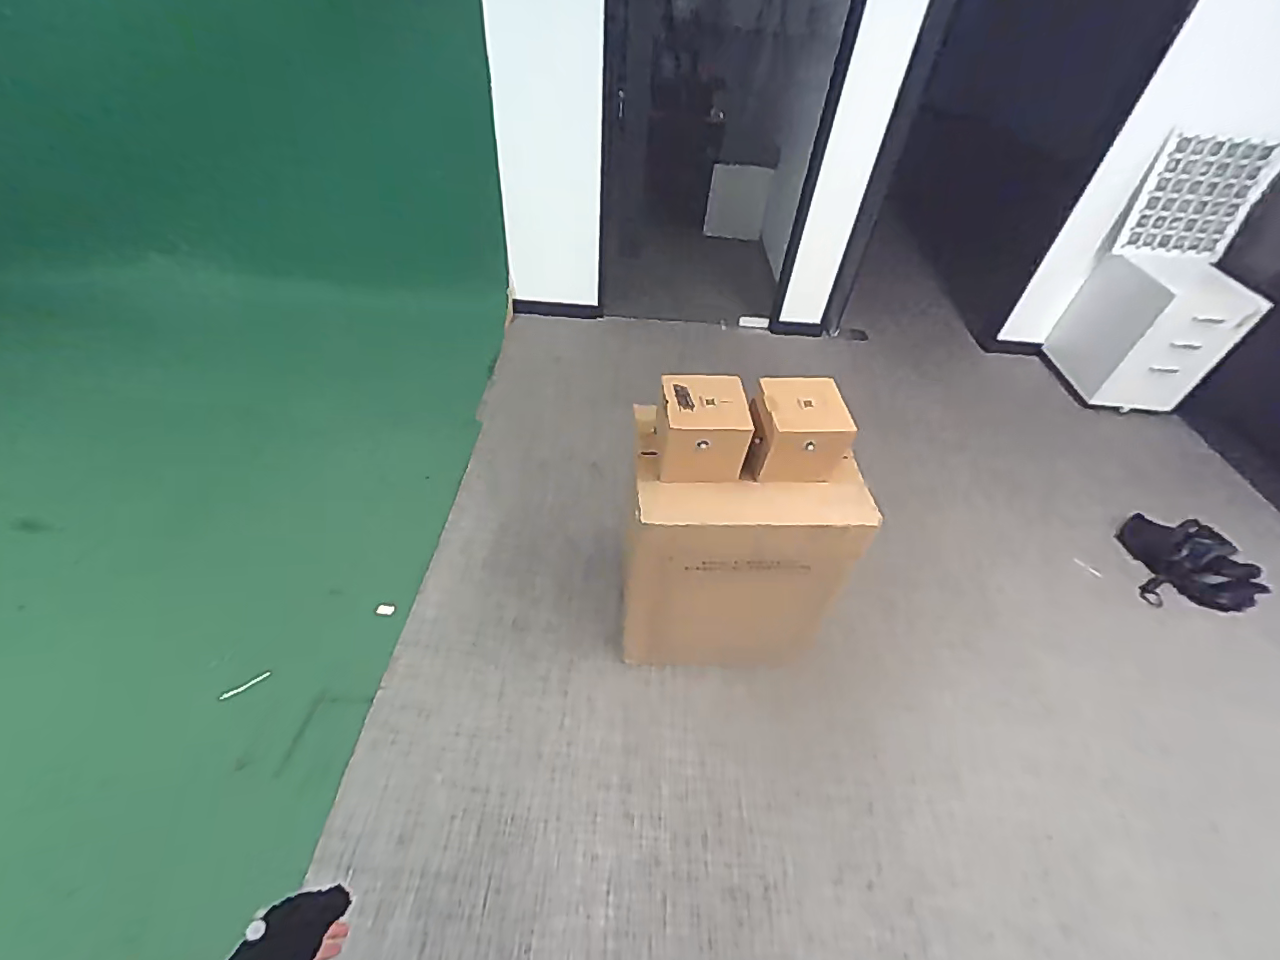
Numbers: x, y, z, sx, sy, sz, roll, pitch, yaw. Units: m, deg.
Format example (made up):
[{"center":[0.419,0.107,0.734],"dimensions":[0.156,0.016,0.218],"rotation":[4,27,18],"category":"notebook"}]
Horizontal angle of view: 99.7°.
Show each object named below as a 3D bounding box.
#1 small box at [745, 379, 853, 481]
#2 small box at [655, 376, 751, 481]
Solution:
[{"center":[0.341,-0.110,1.216],"dimensions":[0.179,0.176,0.168],"rotation":[0,52,-9],"category":"small box"},{"center":[0.128,-0.111,1.191],"dimensions":[0.179,0.176,0.168],"rotation":[1,51,-7],"category":"small box"}]
